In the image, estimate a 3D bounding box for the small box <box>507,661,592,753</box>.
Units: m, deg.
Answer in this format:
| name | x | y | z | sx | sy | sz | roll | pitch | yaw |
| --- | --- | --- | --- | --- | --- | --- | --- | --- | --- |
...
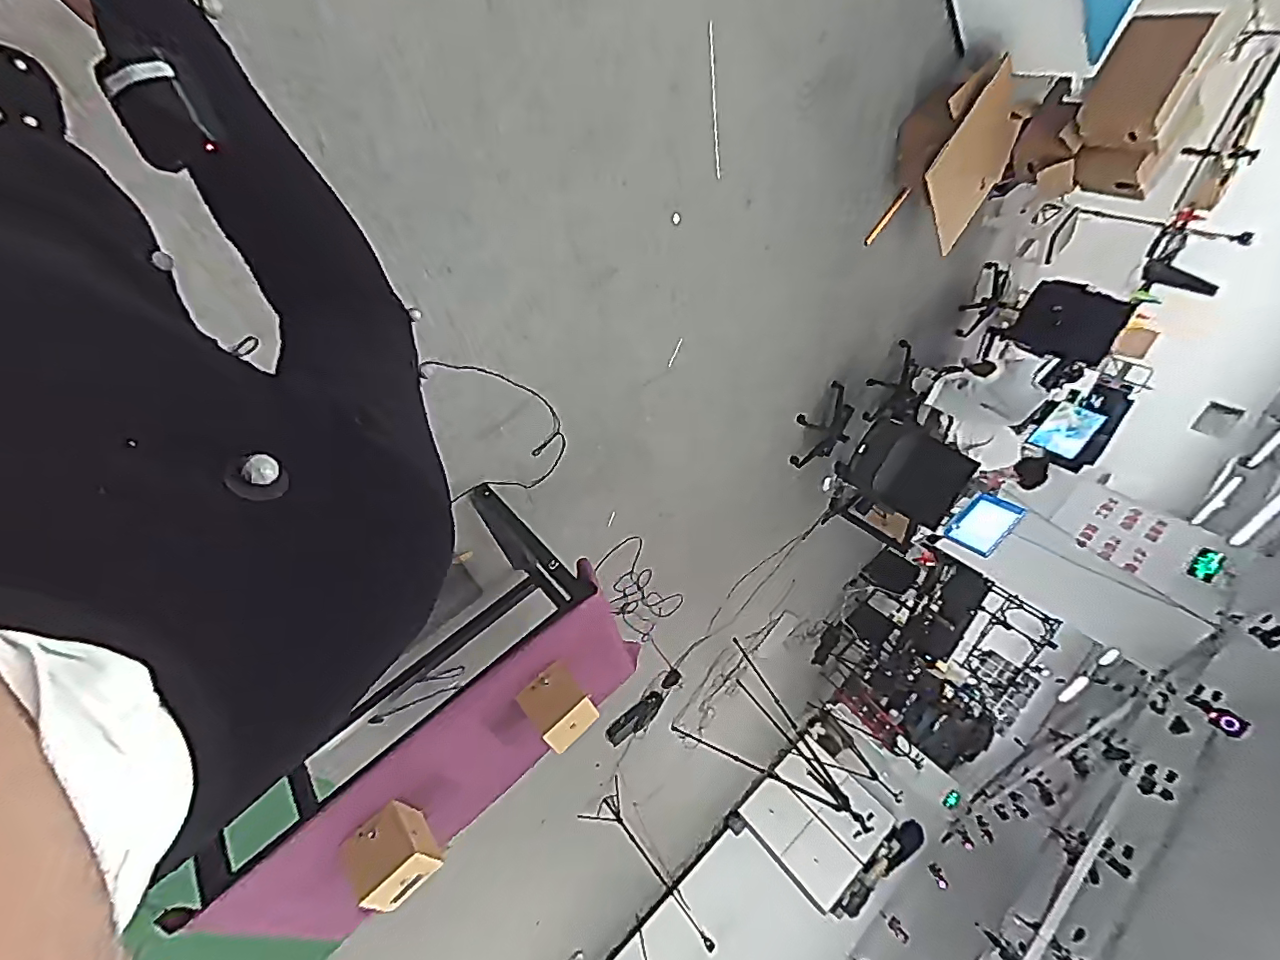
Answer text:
| name | x | y | z | sx | sy | sz | roll | pitch | yaw |
| --- | --- | --- | --- | --- | --- | --- | --- | --- | --- |
| small box | -0.276 | 0.691 | 1.657 | 0.168 | 0.176 | 0.179 | -38 | 142 | -21 |
